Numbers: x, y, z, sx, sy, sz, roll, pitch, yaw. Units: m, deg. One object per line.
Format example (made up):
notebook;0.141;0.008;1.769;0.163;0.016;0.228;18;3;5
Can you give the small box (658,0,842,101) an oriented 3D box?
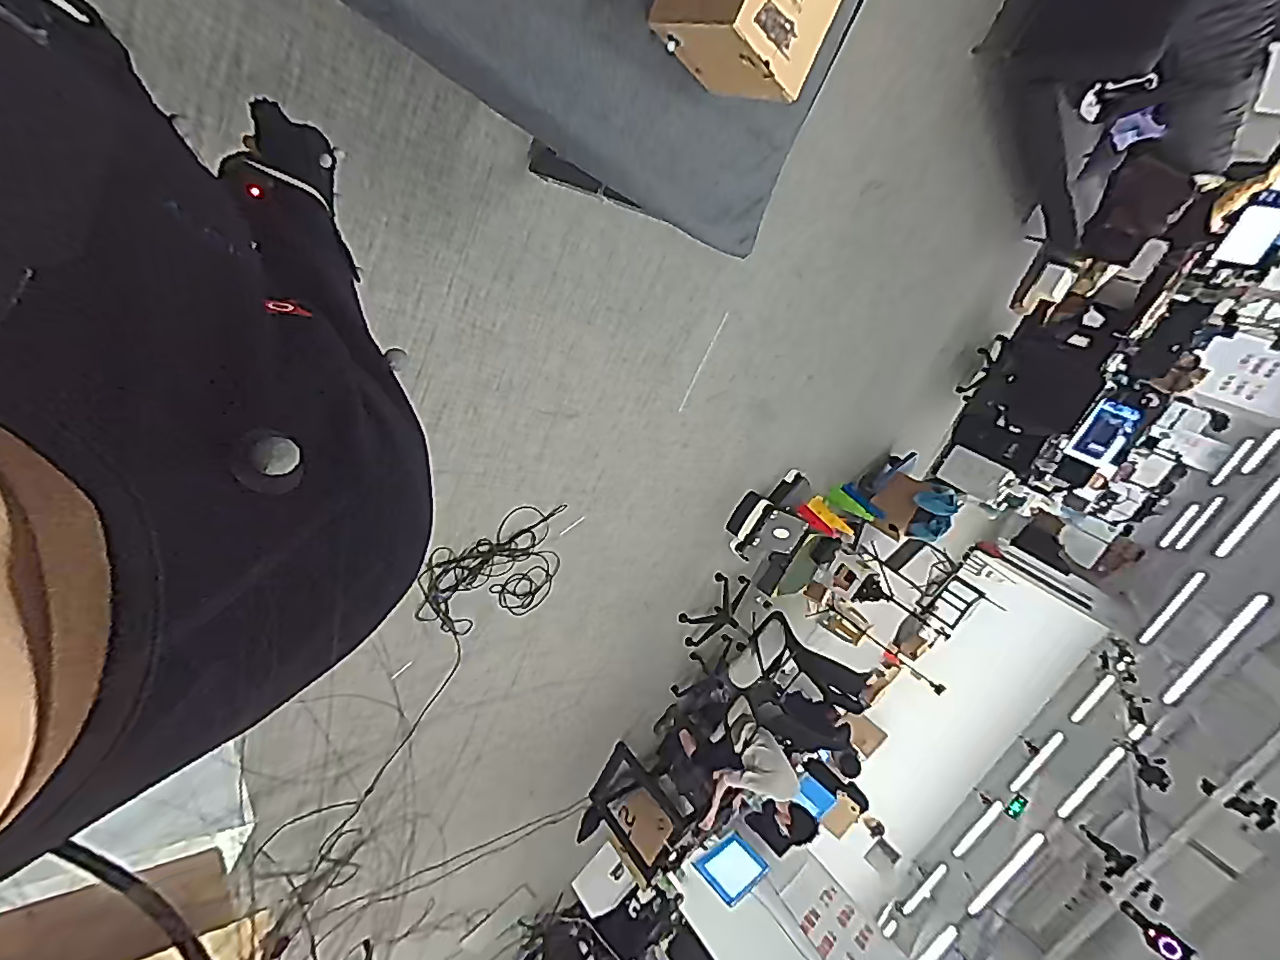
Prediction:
small box;0.150;-0.660;0.735;0.168;0.176;0.179;5;116;-49
